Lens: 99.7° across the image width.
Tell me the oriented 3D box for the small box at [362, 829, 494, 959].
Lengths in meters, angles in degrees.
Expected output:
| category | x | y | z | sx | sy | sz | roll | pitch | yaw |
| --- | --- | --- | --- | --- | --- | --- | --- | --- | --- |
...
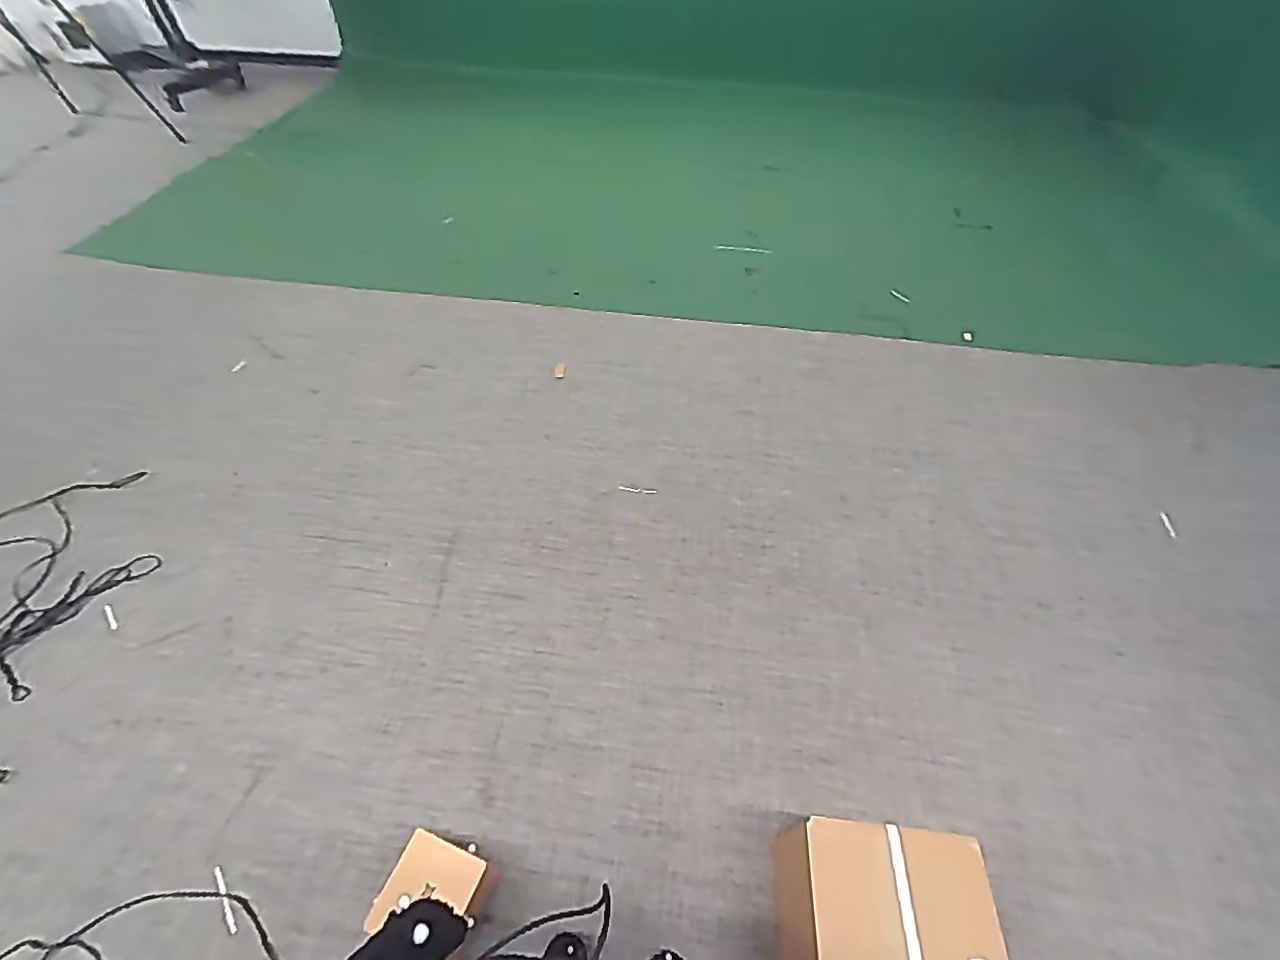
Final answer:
| category | x | y | z | sx | sy | sz | roll | pitch | yaw |
| --- | --- | --- | --- | --- | --- | --- | --- | --- | --- |
| small box | -0.414 | 0.844 | 1.095 | 0.168 | 0.176 | 0.179 | 17 | 54 | 12 |
